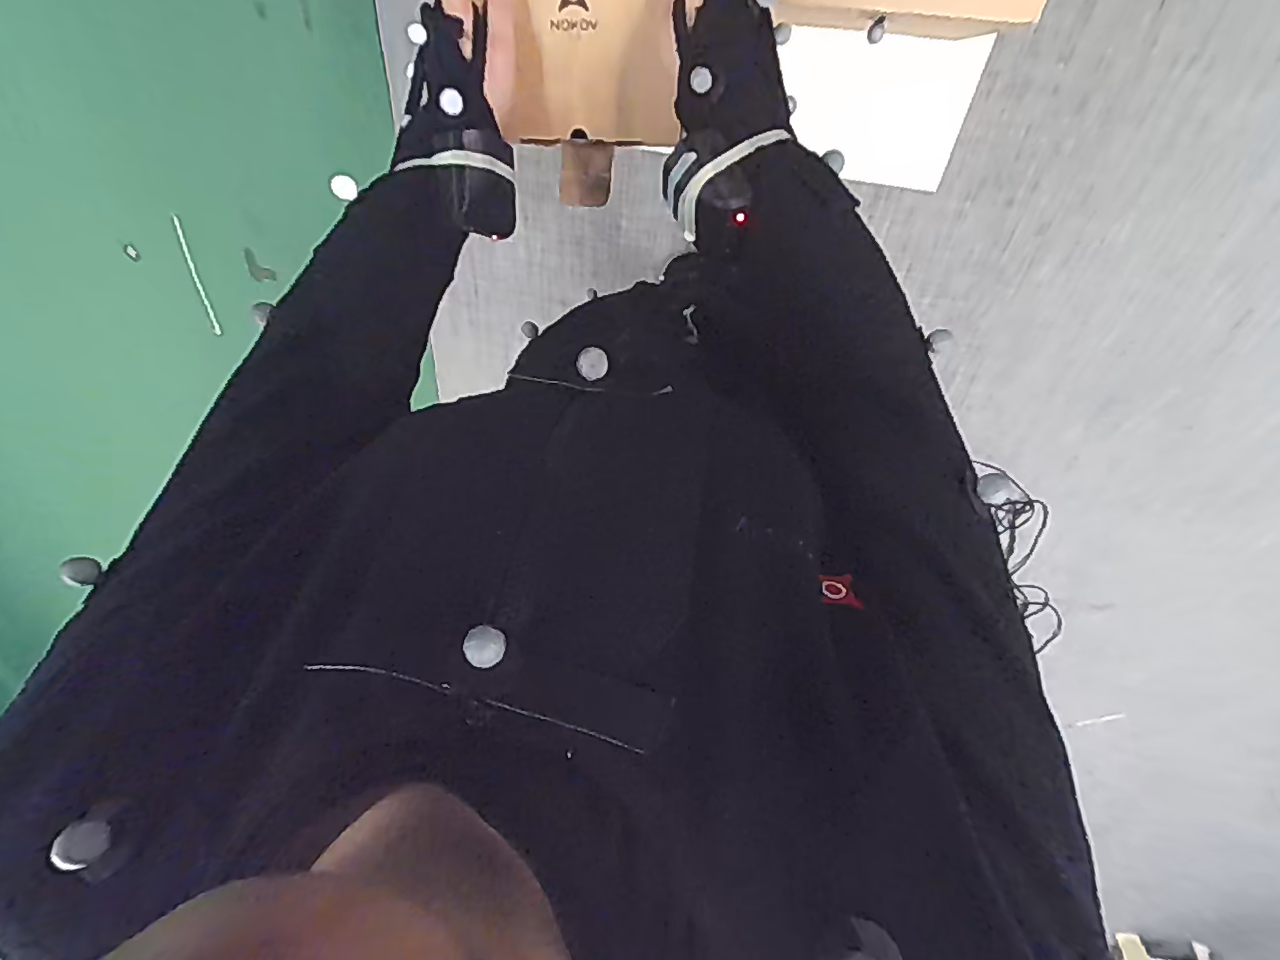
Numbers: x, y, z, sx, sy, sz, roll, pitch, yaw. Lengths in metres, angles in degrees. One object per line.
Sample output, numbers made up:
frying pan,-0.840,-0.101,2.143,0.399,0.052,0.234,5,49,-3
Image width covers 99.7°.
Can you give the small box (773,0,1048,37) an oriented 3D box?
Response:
small box,0.192,-0.417,0.368,0.179,0.176,0.168,10,128,6
